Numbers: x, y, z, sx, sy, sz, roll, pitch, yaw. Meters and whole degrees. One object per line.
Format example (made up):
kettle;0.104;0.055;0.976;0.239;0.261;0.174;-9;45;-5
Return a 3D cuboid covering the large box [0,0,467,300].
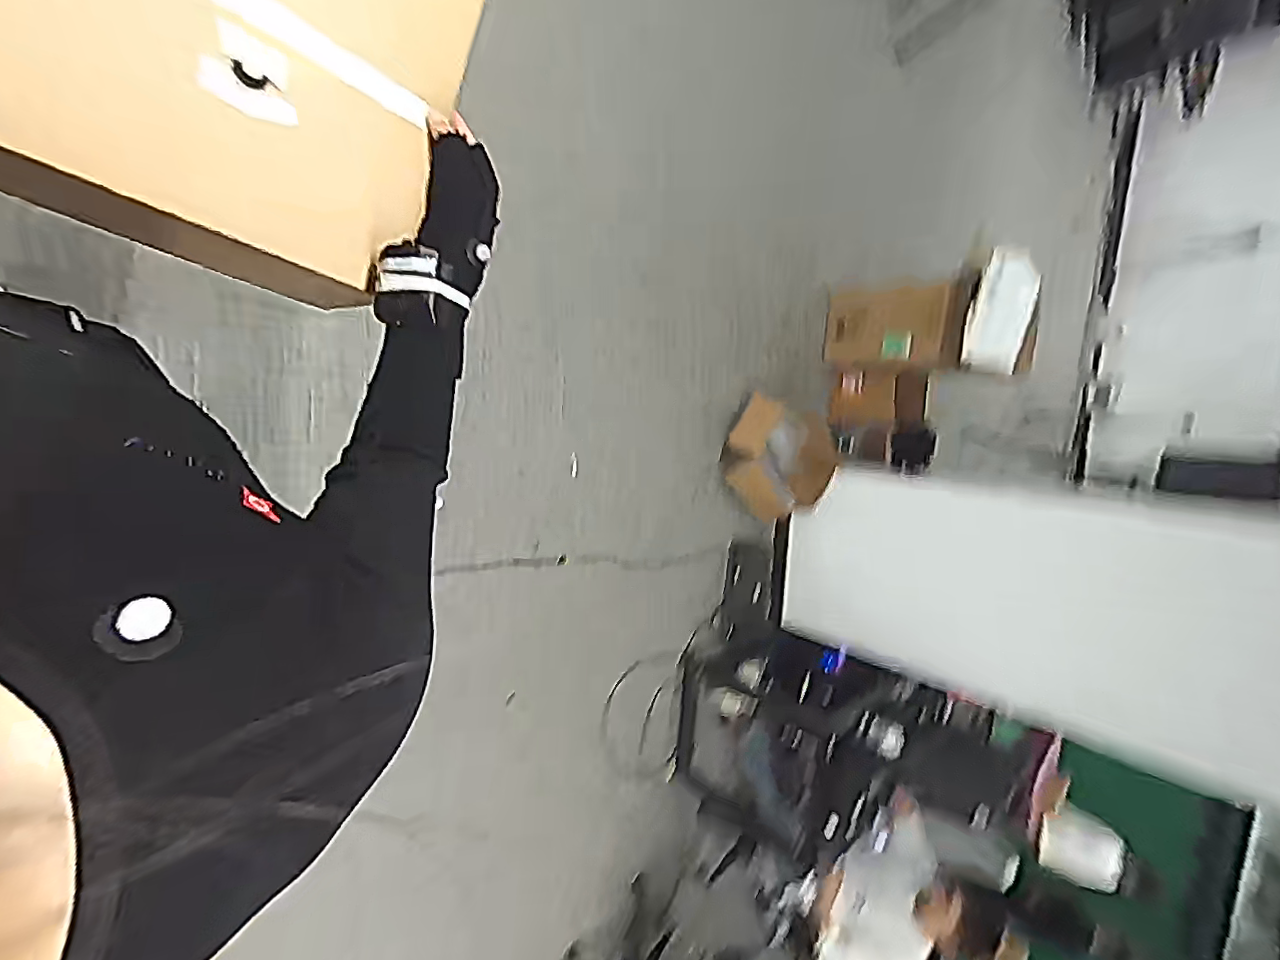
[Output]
large box;-0.424;-0.379;0.458;0.408;0.320;0.320;13;94;-44
